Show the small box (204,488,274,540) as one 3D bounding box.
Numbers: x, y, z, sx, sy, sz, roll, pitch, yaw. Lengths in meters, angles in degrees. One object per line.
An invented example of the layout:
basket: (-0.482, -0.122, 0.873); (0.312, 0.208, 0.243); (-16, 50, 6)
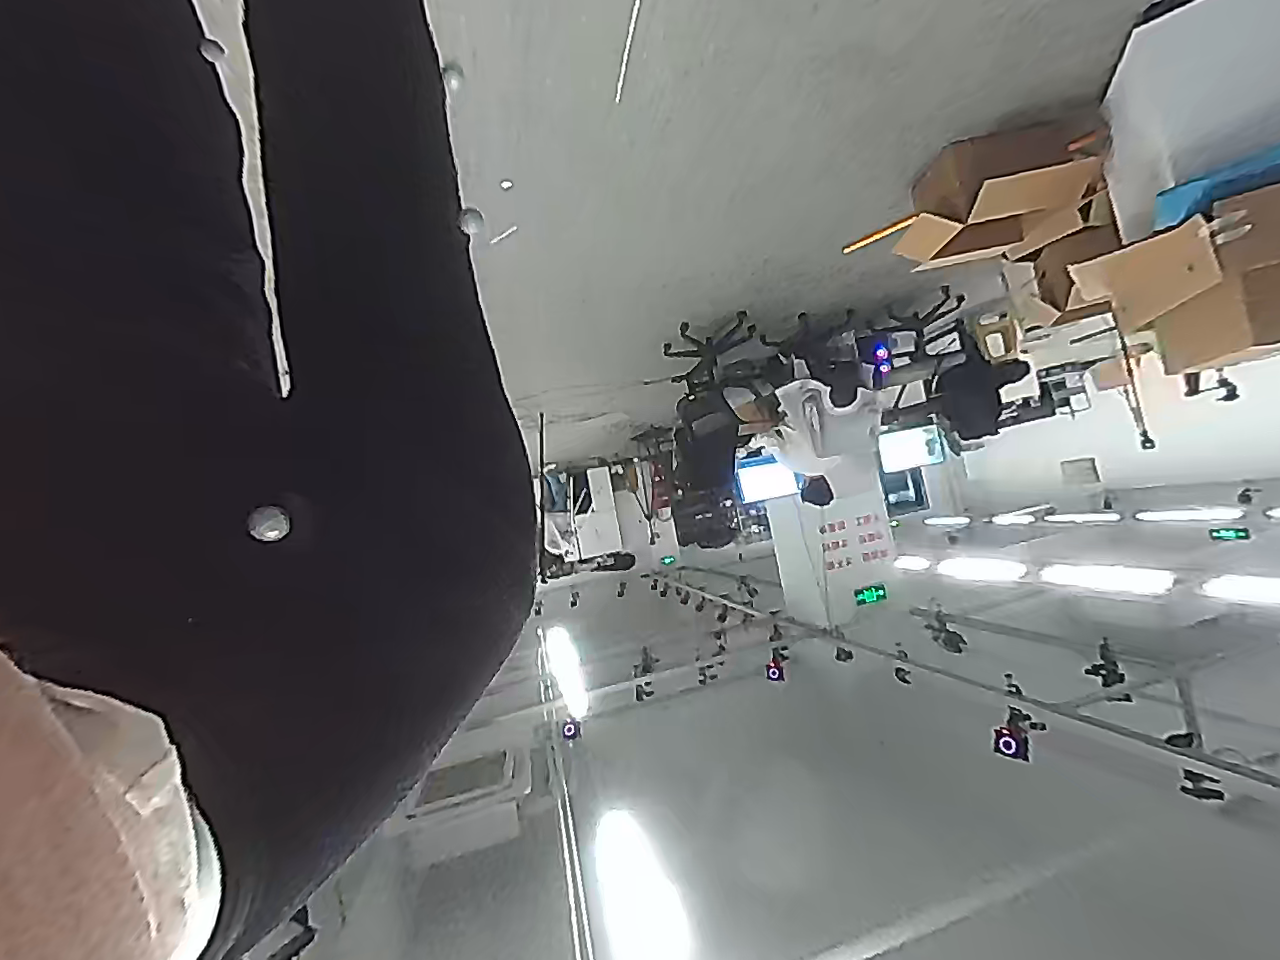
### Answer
small box: (-1.539, 0.127, 2.064); (0.179, 0.176, 0.168); (-9, 177, -13)
